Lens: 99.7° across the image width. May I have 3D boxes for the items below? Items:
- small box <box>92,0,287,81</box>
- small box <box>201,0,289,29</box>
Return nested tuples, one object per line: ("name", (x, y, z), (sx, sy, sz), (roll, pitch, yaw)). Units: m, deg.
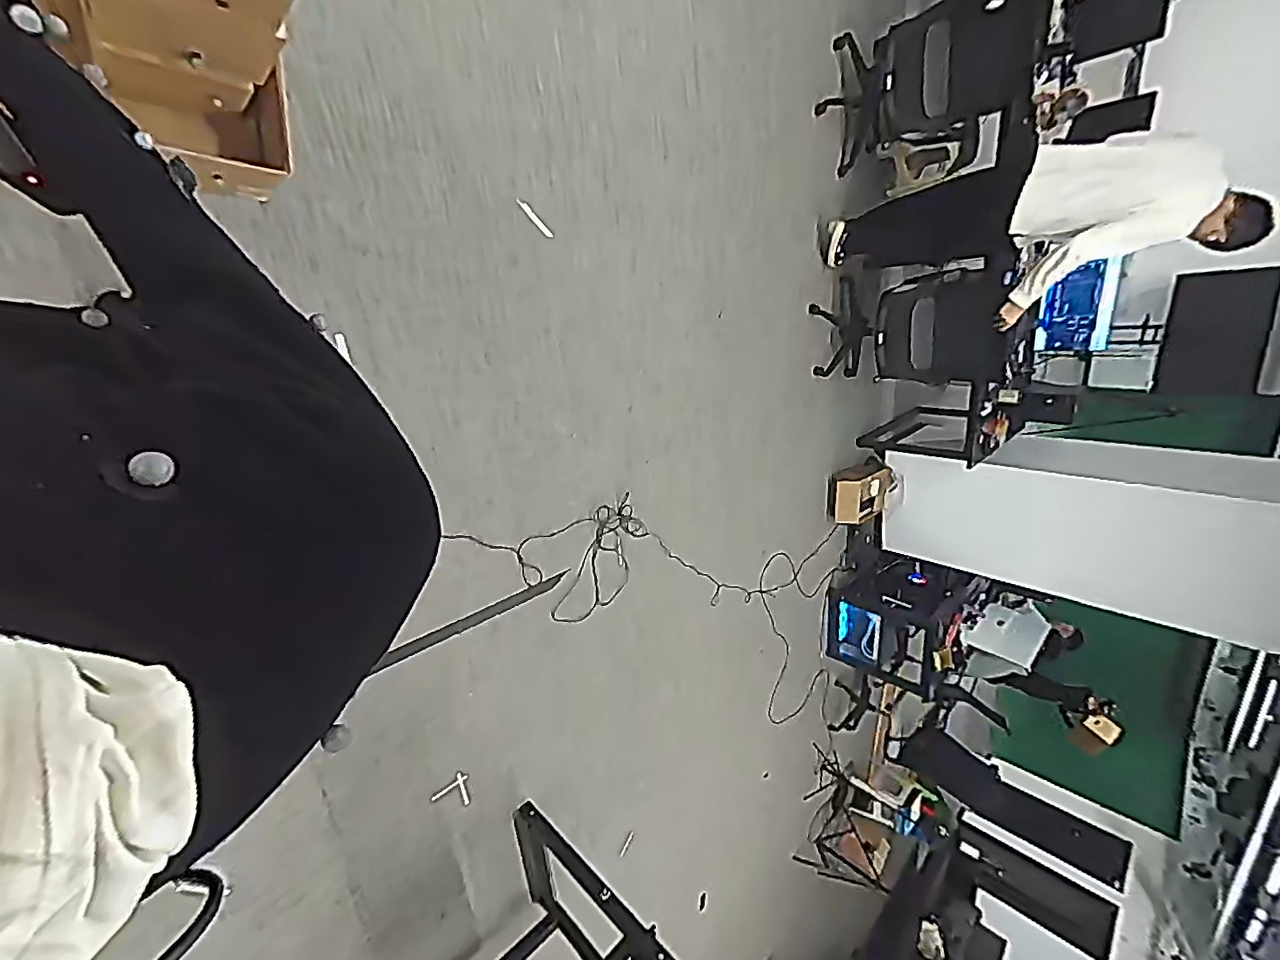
("small box", (-0.583, -0.648, 0.690), (0.179, 0.176, 0.168), (-14, 108, -43))
("small box", (-0.469, -0.636, 0.571), (0.168, 0.176, 0.179), (-8, 104, -44))
